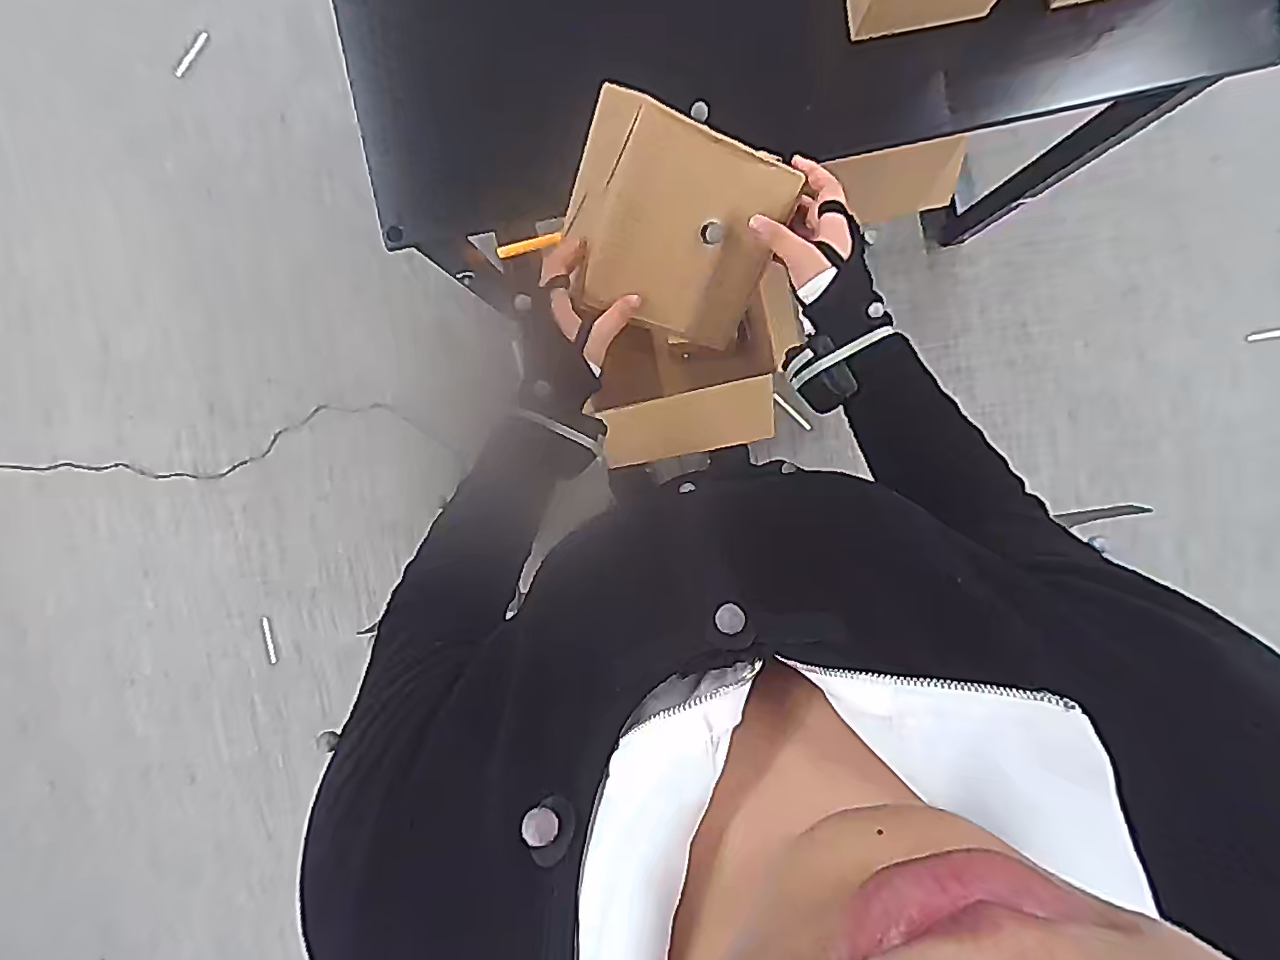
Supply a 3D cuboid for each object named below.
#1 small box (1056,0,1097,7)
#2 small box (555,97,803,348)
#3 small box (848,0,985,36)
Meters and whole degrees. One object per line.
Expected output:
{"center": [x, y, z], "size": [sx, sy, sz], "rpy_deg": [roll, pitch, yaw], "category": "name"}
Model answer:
{"center": [0.586, -0.697, 0.606], "size": [0.168, 0.176, 0.179], "rpy_deg": [-9, 94, 3], "category": "small box"}
{"center": [0.023, -0.261, 0.548], "size": [0.176, 0.168, 0.179], "rpy_deg": [9, 125, -23], "category": "small box"}
{"center": [0.344, -0.658, 0.619], "size": [0.179, 0.176, 0.168], "rpy_deg": [-9, 94, 2], "category": "small box"}
